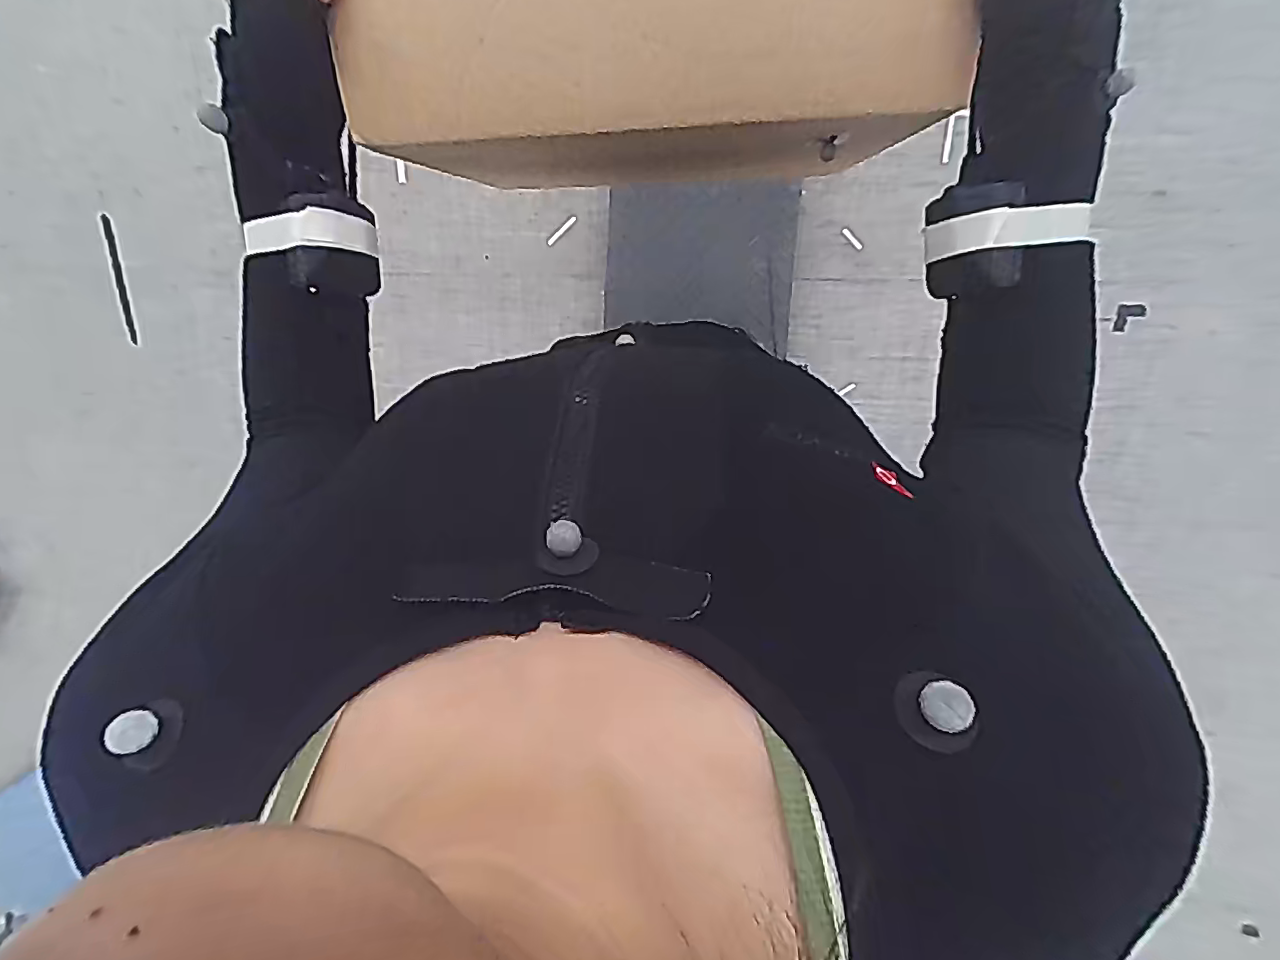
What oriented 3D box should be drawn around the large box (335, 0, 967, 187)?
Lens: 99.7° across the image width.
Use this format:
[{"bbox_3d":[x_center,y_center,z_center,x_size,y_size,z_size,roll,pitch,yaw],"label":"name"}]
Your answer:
[{"bbox_3d":[0.009,-0.435,0.442,0.408,0.320,0.320,0,113,5],"label":"large box"}]
